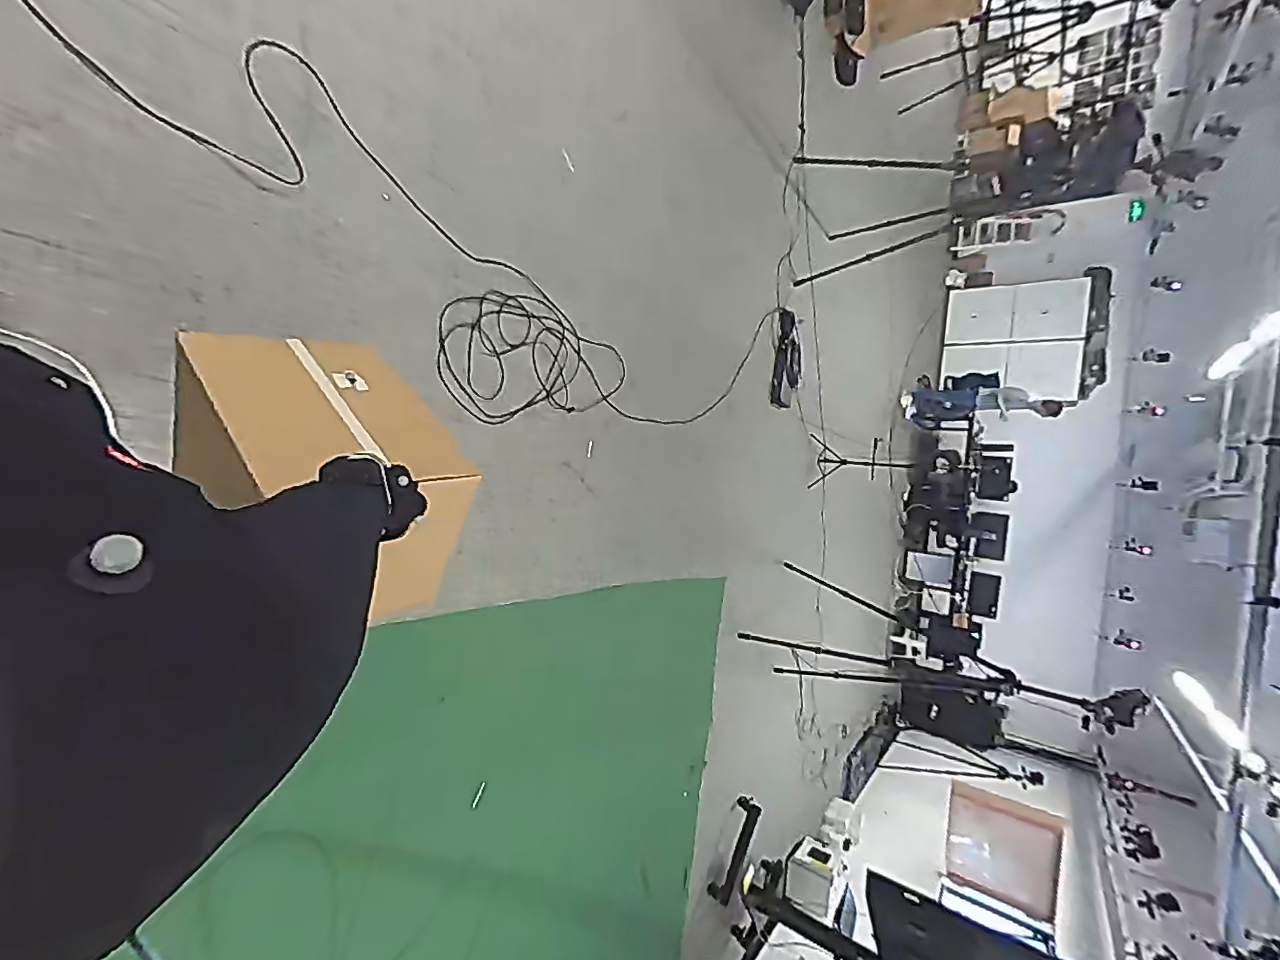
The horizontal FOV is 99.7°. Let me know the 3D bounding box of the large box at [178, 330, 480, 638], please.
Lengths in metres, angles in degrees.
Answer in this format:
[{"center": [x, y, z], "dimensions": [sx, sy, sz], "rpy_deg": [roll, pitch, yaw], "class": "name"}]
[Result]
[{"center": [-0.550, -0.012, 0.938], "dimensions": [0.320, 0.408, 0.320], "rpy_deg": [-10, 136, -51], "class": "large box"}]
